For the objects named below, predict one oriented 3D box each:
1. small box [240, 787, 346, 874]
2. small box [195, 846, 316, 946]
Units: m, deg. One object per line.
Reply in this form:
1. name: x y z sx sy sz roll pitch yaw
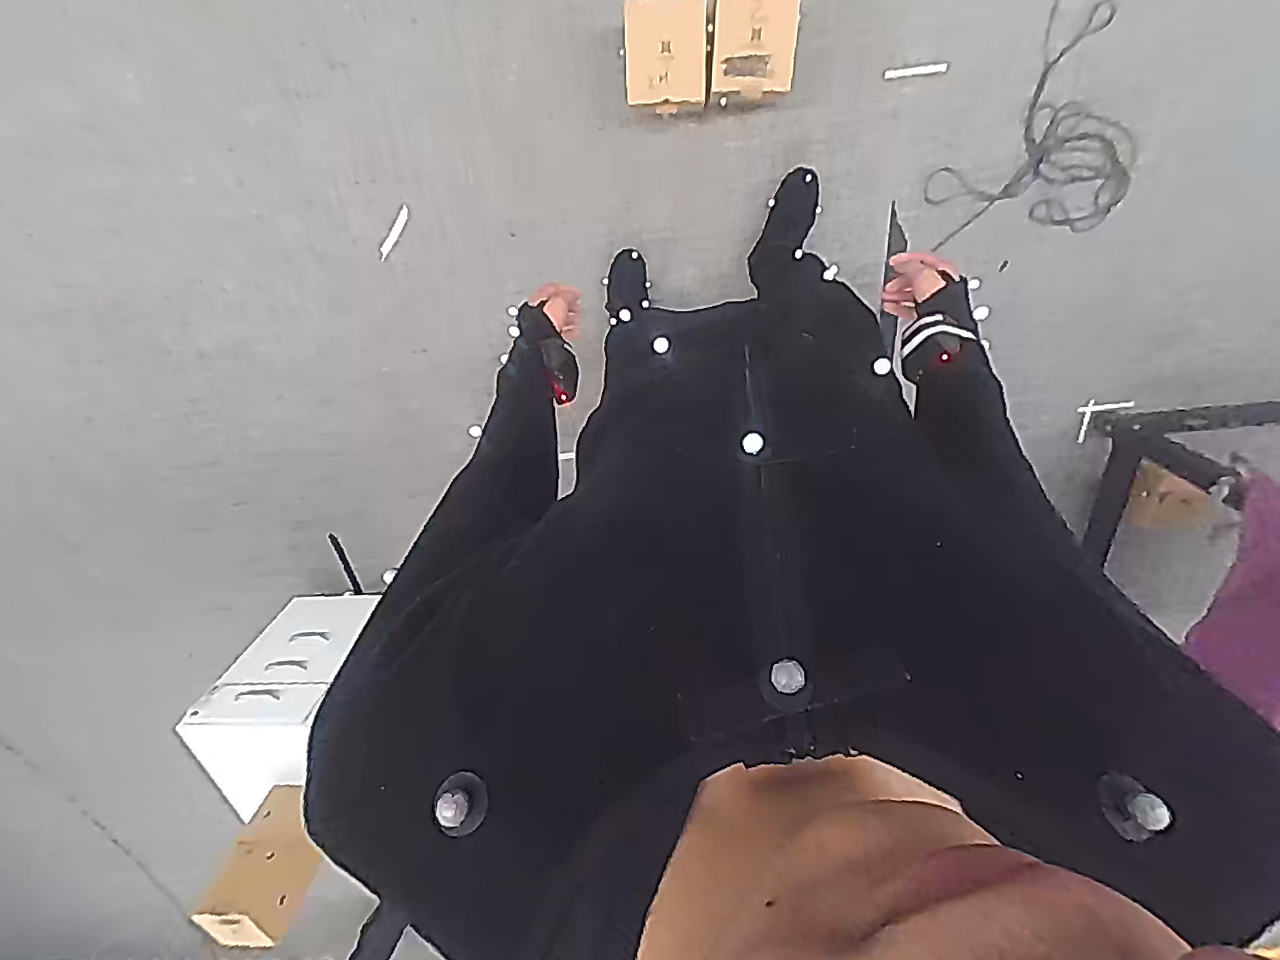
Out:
1. small box: -1.018 1.036 1.602 0.179 0.176 0.168 -2 119 5
2. small box: -1.026 1.121 1.462 0.168 0.176 0.179 -5 120 7
